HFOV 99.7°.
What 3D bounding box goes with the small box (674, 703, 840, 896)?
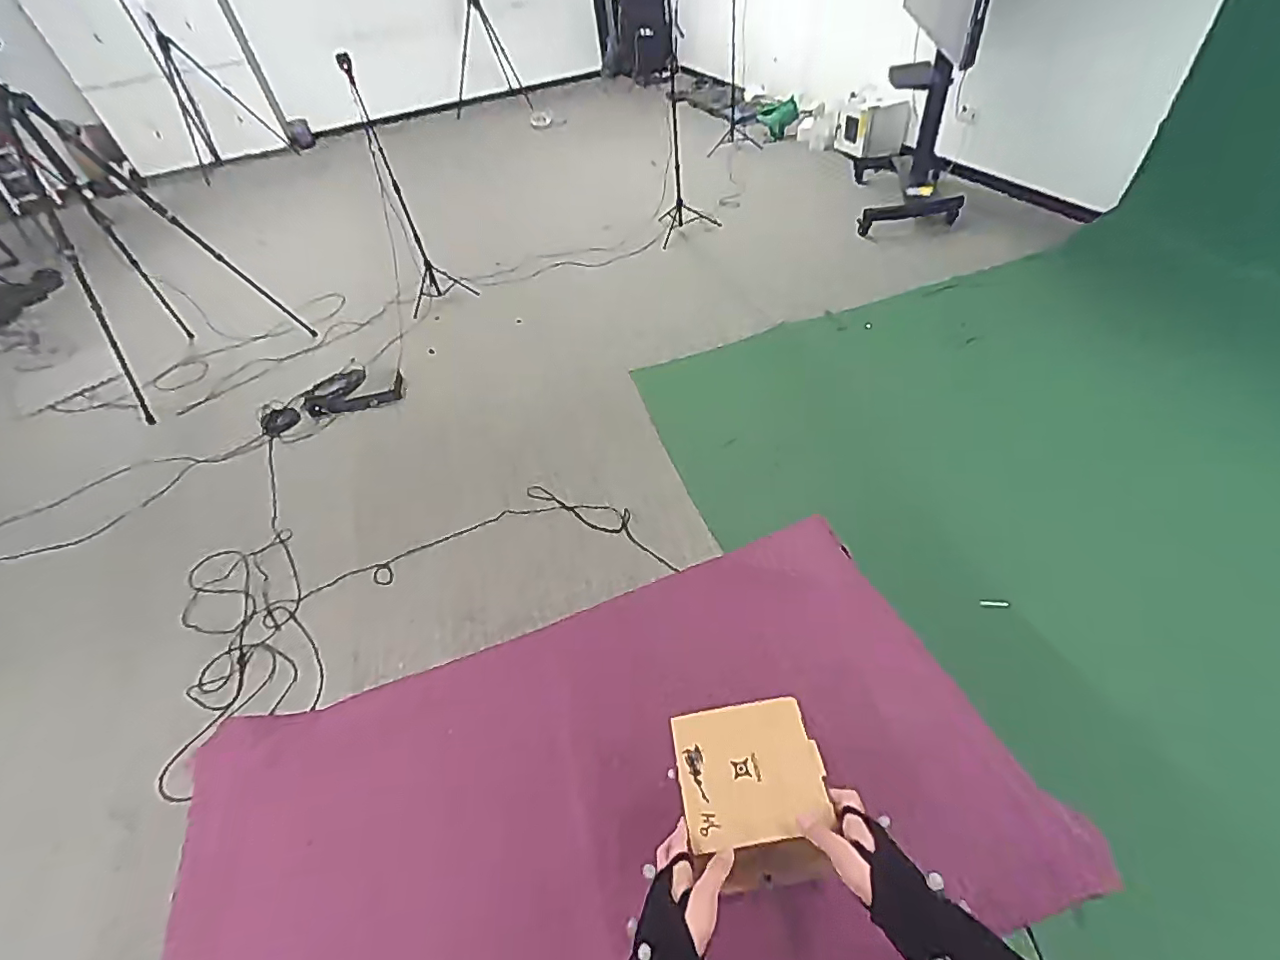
[{"bbox_3d":[0.146,0.428,0.725,0.179,0.176,0.168,-9,37,1],"label":"small box"}]
